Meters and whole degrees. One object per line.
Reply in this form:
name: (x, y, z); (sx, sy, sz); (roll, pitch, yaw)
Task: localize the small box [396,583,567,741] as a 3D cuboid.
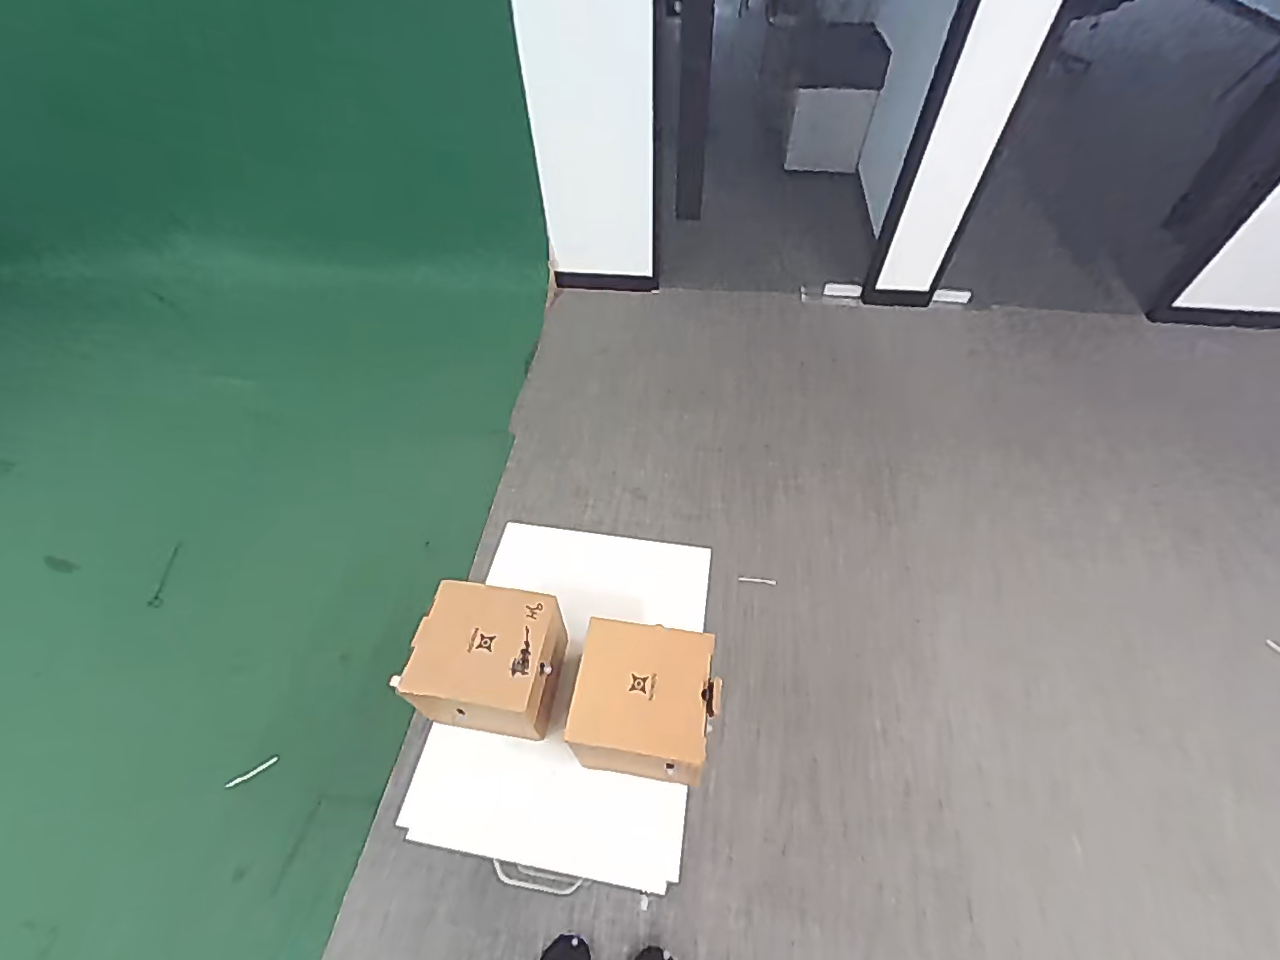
small box: (-0.218, 0.272, 0.801); (0.179, 0.176, 0.168); (7, 53, 6)
